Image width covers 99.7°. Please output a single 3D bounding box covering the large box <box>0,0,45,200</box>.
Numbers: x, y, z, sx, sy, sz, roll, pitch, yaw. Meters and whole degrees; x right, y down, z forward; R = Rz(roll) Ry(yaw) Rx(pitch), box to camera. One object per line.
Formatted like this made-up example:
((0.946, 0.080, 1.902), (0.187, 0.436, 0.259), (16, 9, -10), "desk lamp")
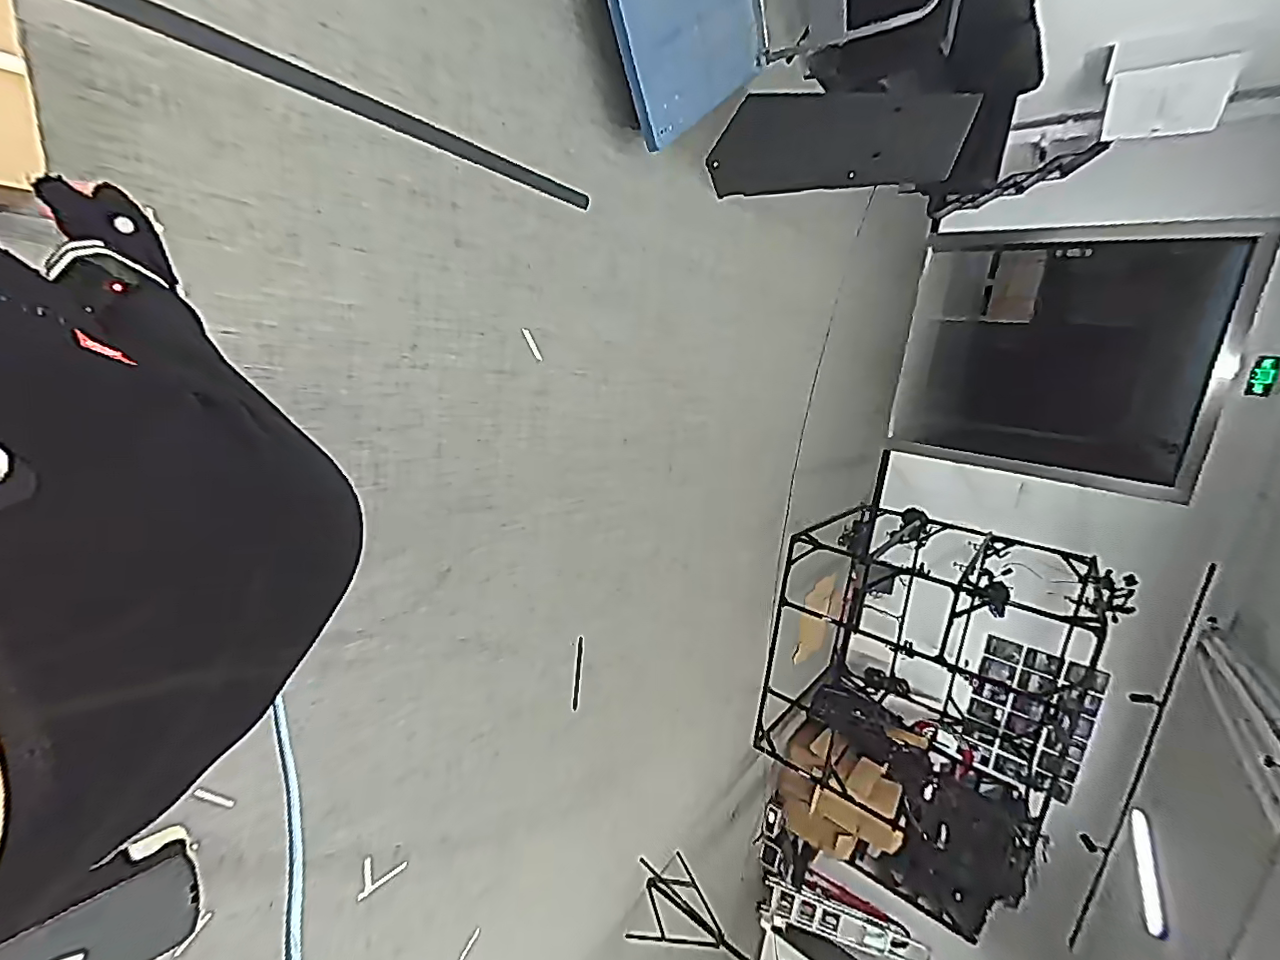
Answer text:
((-1.088, -0.569, 0.671), (0.408, 0.320, 0.320), (-16, 116, -52), "large box")
